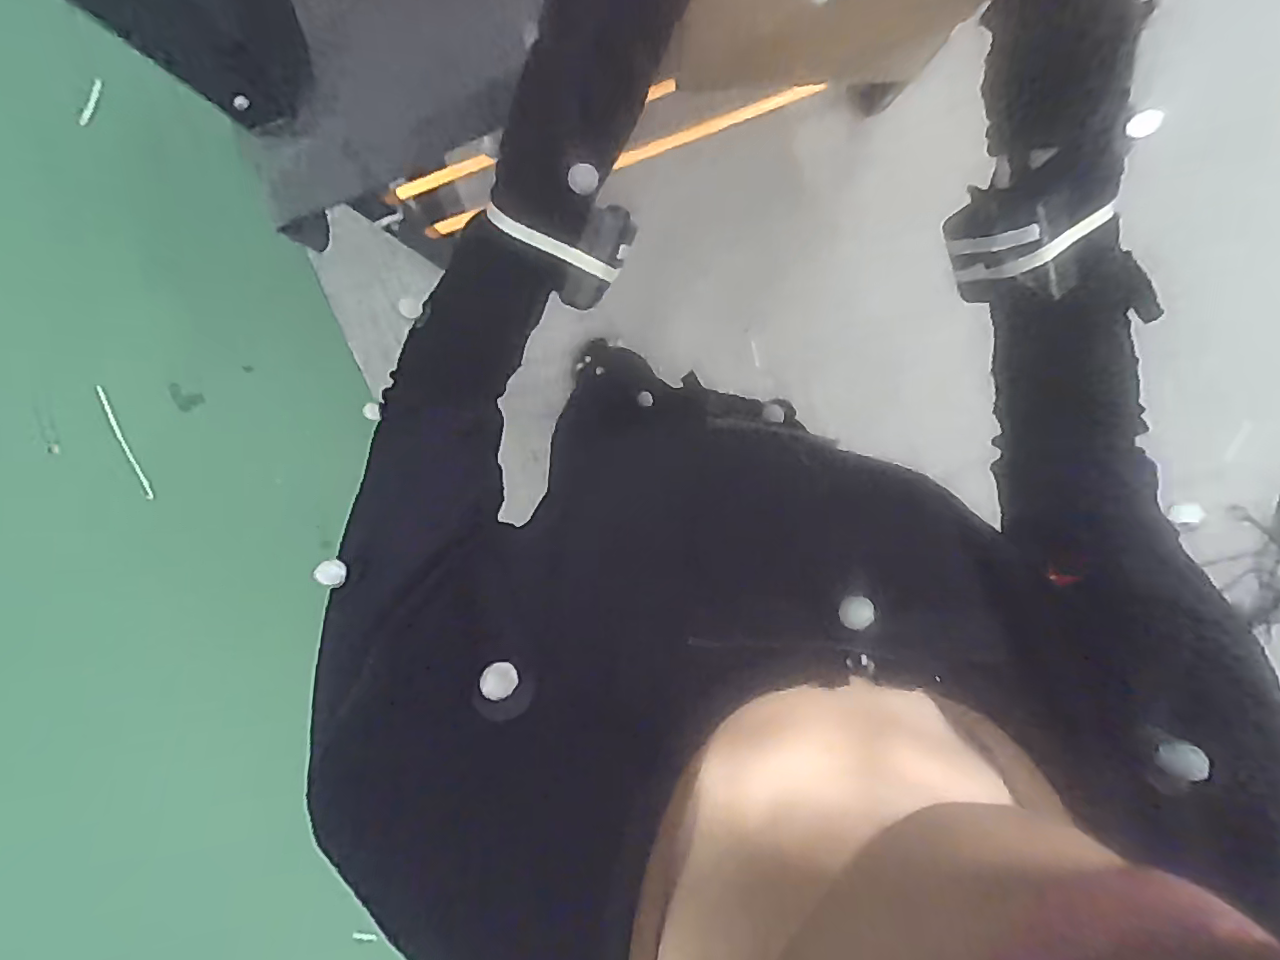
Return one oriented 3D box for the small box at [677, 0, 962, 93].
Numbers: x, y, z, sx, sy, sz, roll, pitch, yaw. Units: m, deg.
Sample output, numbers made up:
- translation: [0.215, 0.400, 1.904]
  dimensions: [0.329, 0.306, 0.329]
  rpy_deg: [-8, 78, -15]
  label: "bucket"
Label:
- translation: [0.110, -0.357, 0.316]
  dimensions: [0.179, 0.176, 0.168]
  rpy_deg: [-1, 102, 2]
  label: "small box"
